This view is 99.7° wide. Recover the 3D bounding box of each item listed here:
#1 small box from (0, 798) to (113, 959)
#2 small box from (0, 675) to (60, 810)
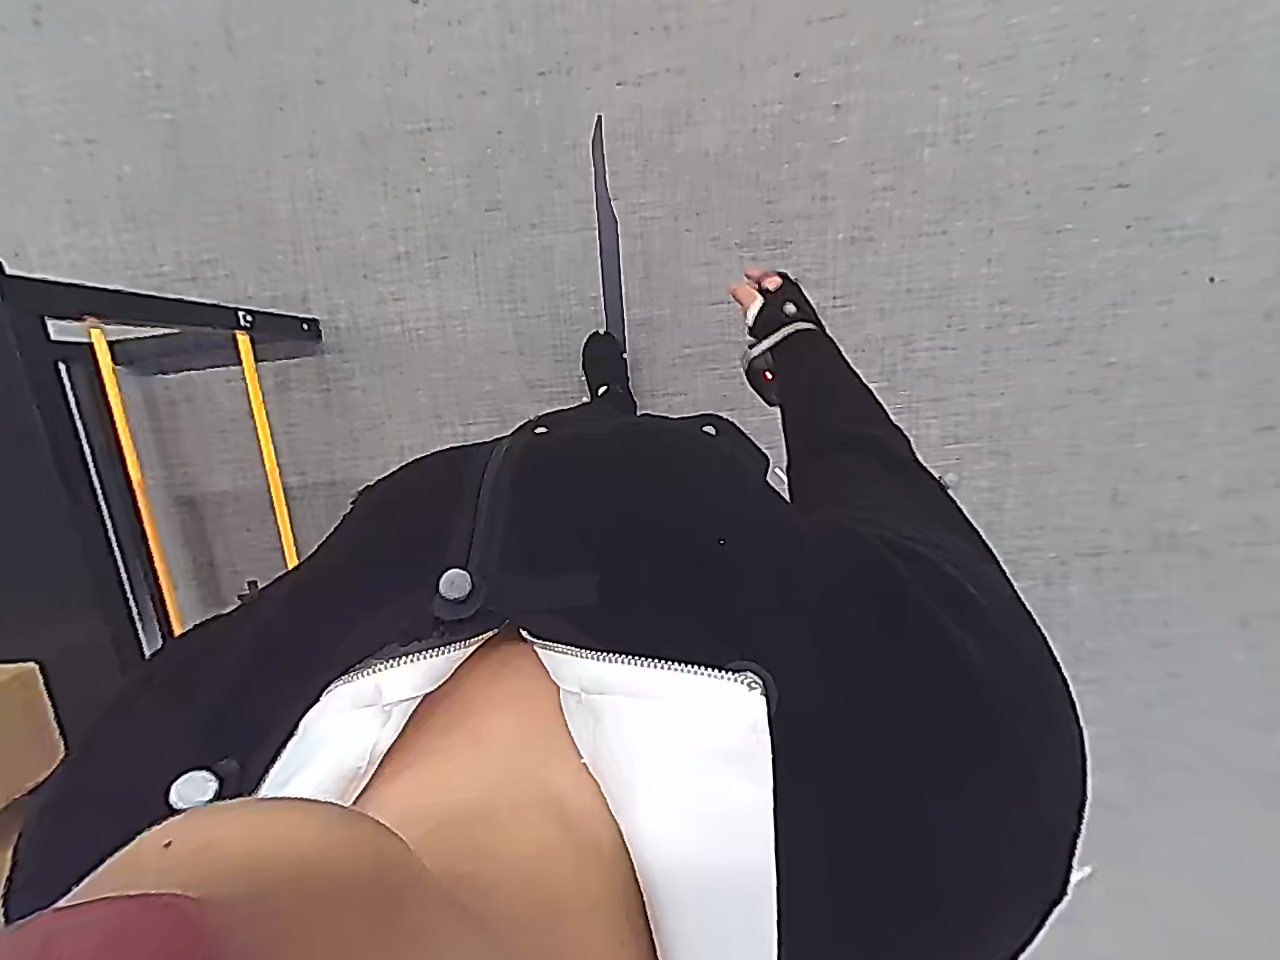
[{"bbox_3d":[-0.951,0.600,0.792,0.179,0.176,0.168,-5,102,2],"label":"small box"},{"bbox_3d":[-0.985,0.387,0.749,0.168,0.176,0.179,-4,101,3],"label":"small box"}]
